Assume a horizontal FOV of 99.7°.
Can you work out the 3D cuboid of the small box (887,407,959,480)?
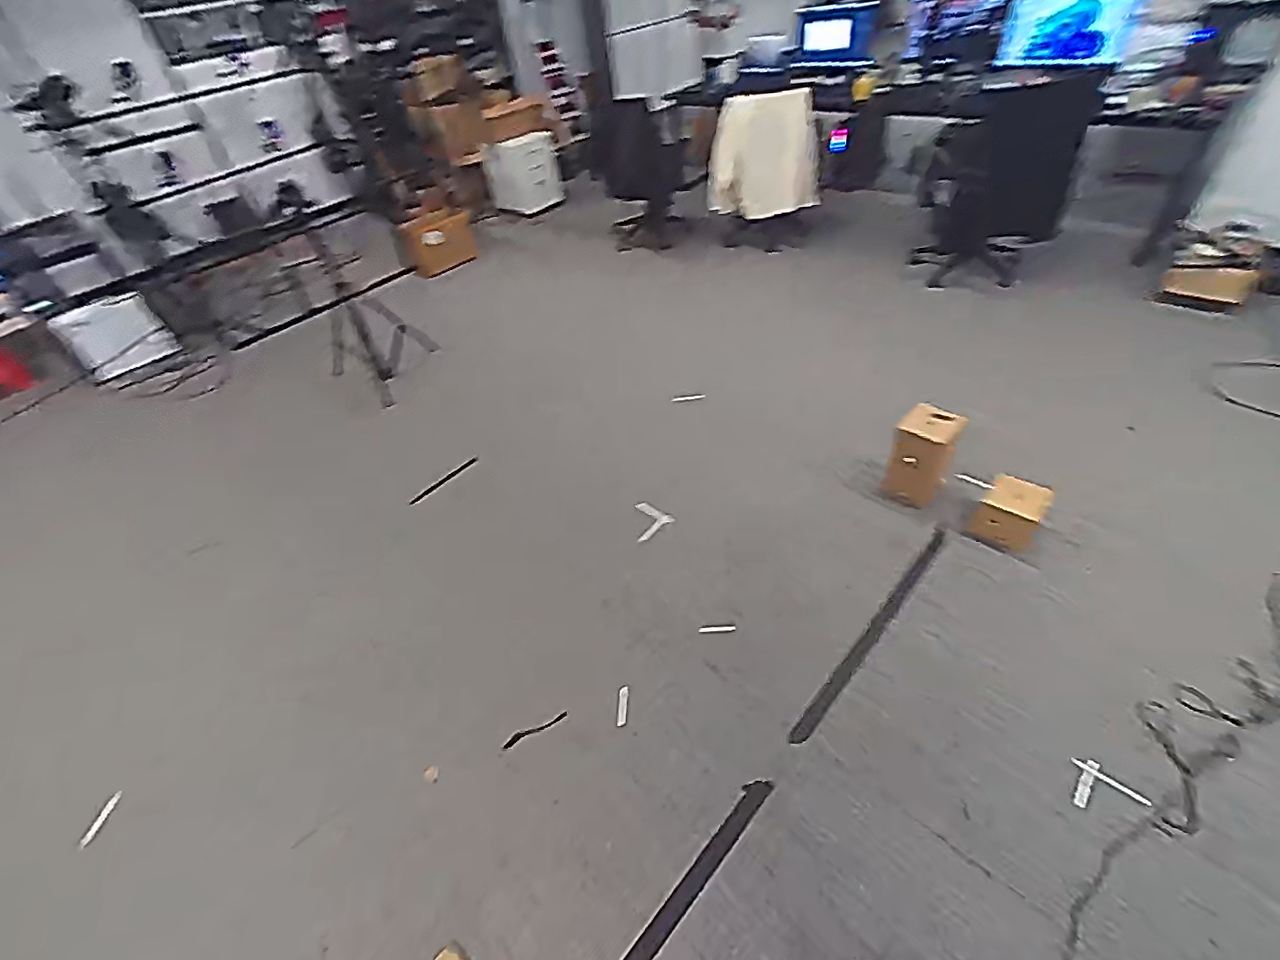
[{"bbox_3d":[1.032,-0.133,1.987,0.168,0.176,0.179,31,57,35],"label":"small box"}]

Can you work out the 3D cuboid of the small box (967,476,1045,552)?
[{"bbox_3d":[1.289,0.124,1.916,0.168,0.176,0.179,27,54,32],"label":"small box"}]
